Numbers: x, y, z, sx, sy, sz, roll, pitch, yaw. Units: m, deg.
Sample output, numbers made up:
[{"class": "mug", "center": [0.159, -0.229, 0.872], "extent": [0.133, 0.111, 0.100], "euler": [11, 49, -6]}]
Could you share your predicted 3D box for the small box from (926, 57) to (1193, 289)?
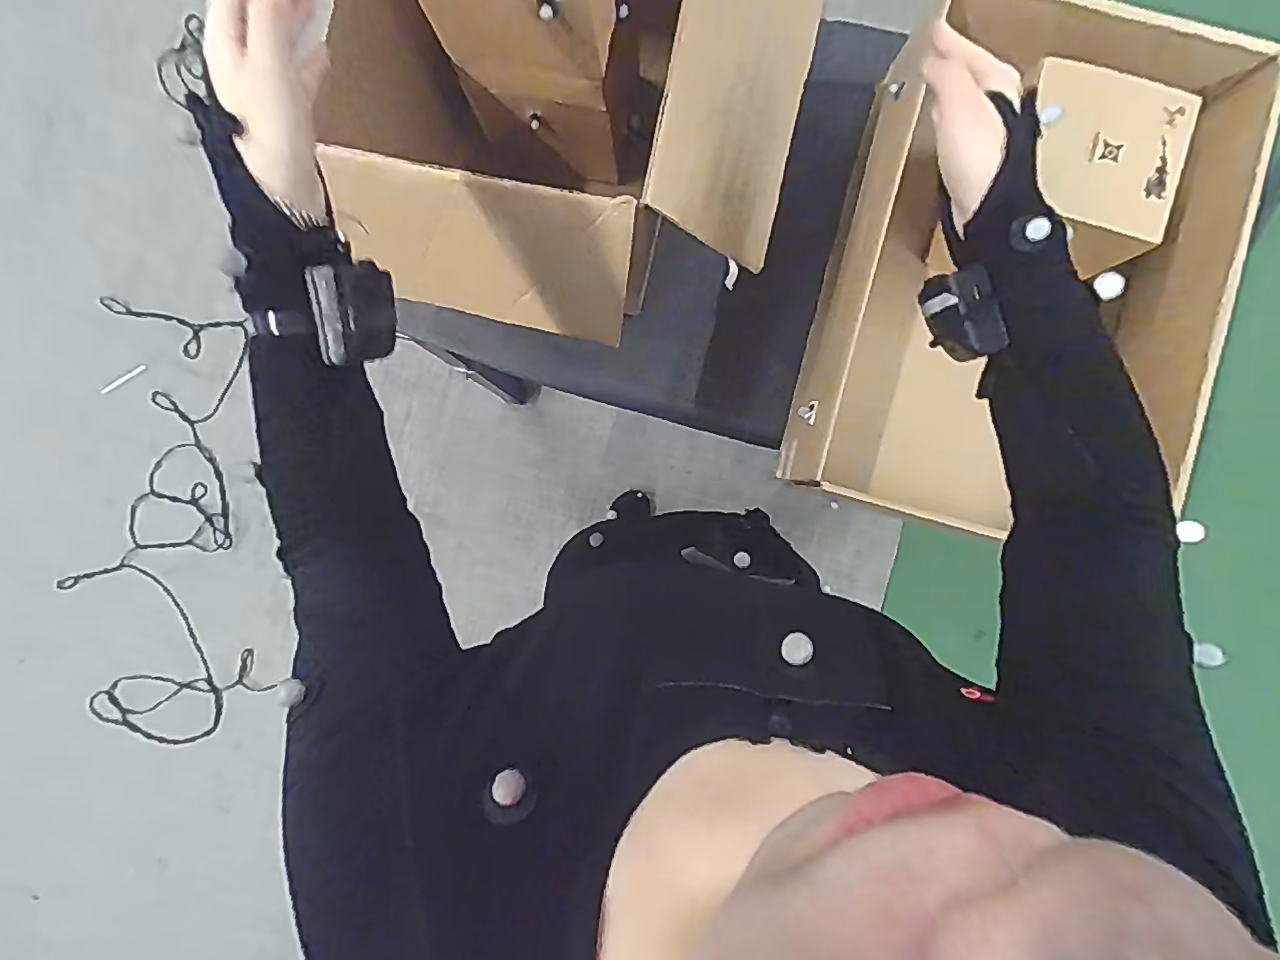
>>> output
[{"class": "small box", "center": [0.487, -0.354, 0.659], "extent": [0.179, 0.176, 0.168], "euler": [16, 91, 1]}]
